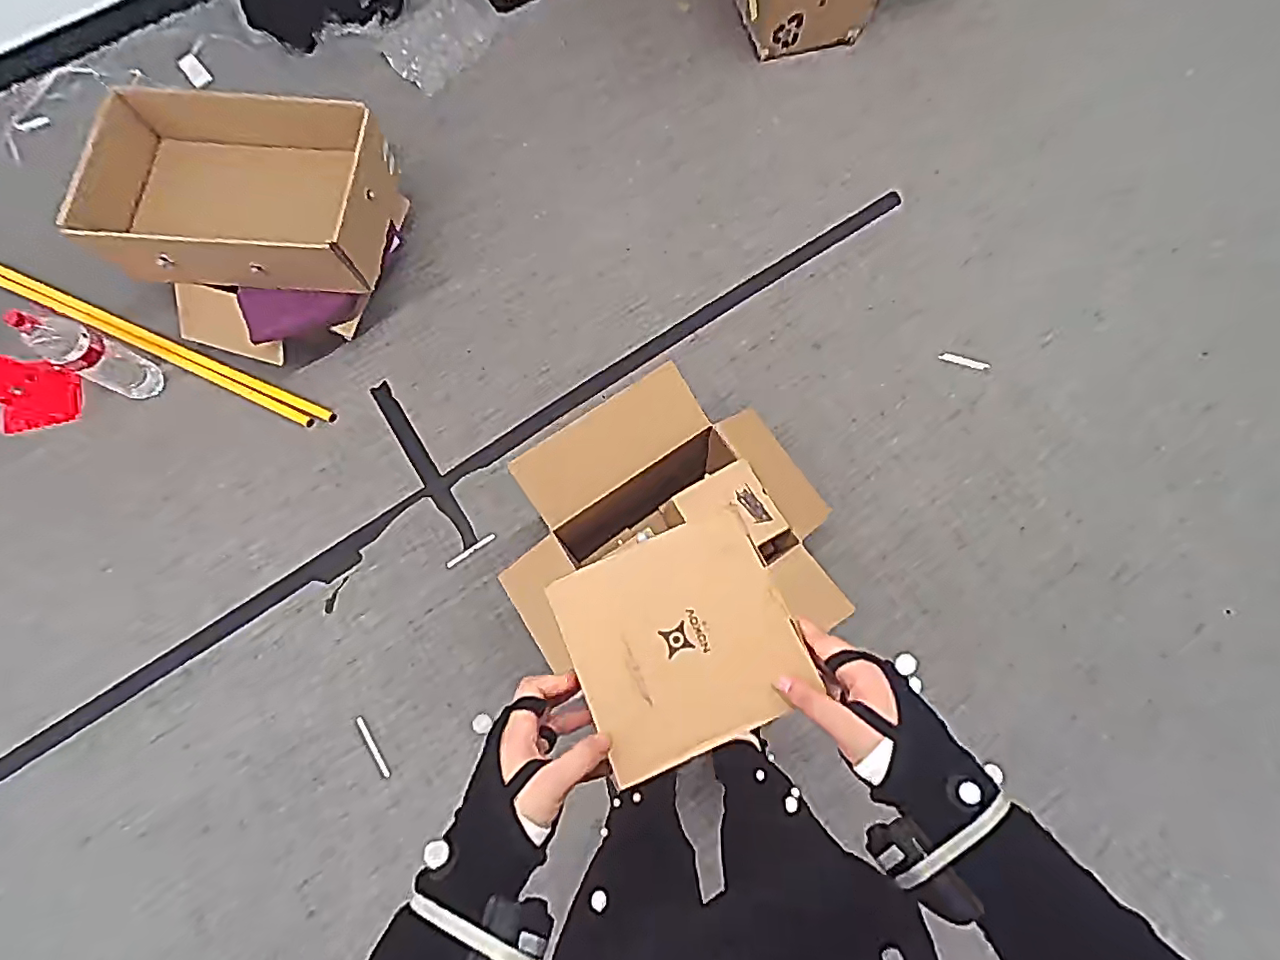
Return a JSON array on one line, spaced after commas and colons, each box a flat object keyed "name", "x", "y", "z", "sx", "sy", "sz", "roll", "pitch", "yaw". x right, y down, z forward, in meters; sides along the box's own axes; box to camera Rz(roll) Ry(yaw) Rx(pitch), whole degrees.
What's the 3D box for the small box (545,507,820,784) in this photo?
[{"name": "small box", "x": 0.034, "y": 0.146, "z": 0.509, "sx": 0.179, "sy": 0.176, "sz": 0.168, "roll": -24, "pitch": 74, "yaw": -3}]
